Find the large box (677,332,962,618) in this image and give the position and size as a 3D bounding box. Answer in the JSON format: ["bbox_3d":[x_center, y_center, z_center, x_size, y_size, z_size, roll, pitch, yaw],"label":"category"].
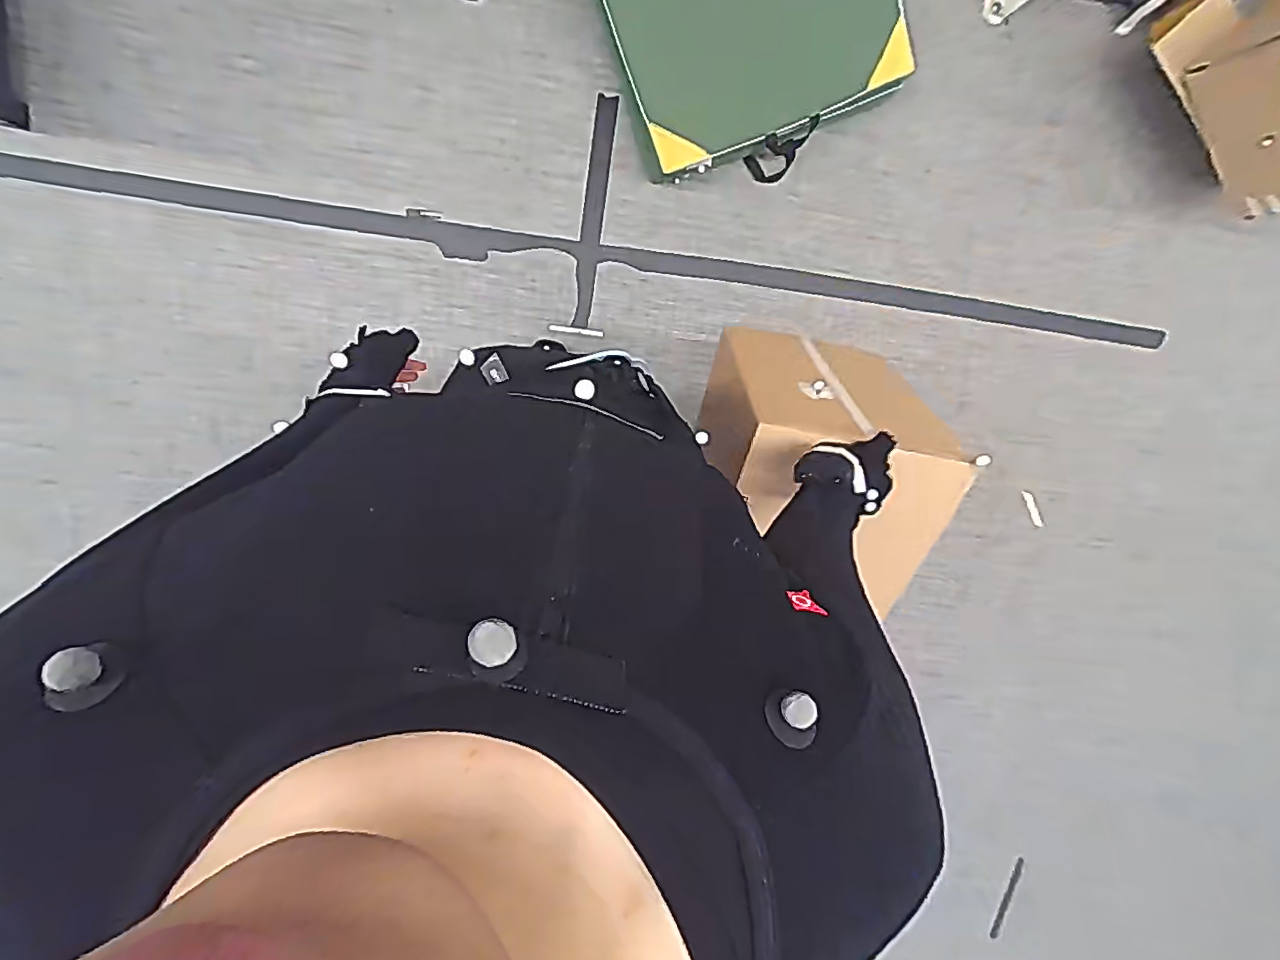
[{"bbox_3d":[0.261,-0.024,0.964,0.320,0.408,0.320,9,124,-6],"label":"large box"}]
